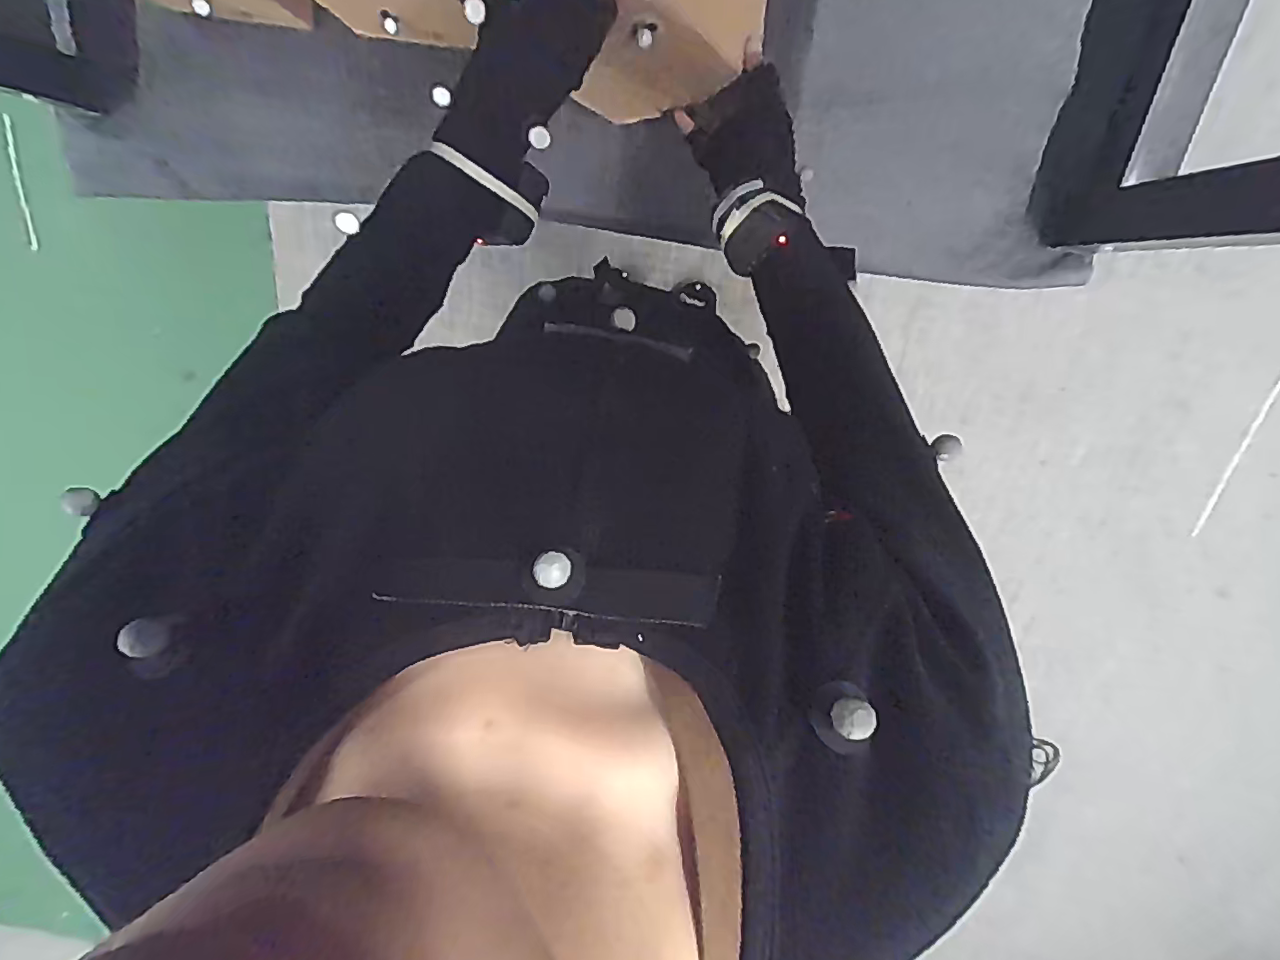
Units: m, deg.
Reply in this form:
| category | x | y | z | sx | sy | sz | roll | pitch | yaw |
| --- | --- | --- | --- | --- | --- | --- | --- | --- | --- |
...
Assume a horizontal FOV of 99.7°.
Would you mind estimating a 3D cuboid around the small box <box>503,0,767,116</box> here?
| category | x | y | z | sx | sy | sz | roll | pitch | yaw |
| --- | --- | --- | --- | --- | --- | --- | --- | --- | --- |
| small box | -0.003 | -0.443 | 0.445 | 0.168 | 0.176 | 0.179 | 11 | 107 | 34 |
